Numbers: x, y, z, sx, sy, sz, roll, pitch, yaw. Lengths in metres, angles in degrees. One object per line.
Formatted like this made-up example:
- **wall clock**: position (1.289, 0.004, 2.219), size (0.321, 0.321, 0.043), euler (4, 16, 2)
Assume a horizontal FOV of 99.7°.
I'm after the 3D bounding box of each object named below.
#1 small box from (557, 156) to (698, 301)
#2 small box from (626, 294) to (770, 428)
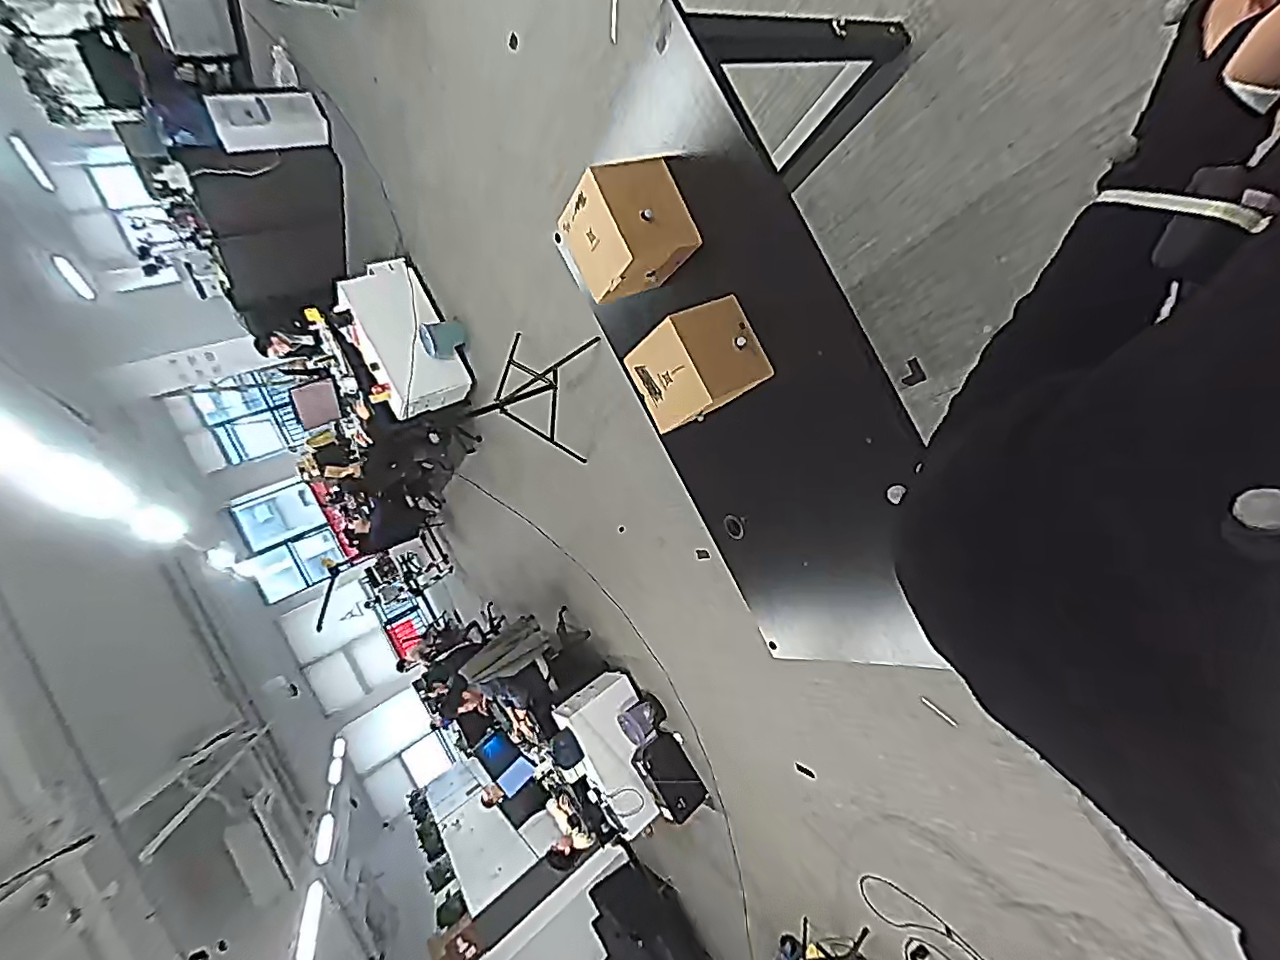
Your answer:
- **small box**: position (-0.022, -0.471, 1.014), size (0.168, 0.176, 0.179), euler (-22, 97, 60)
- **small box**: position (0.108, -0.222, 1.019), size (0.168, 0.176, 0.179), euler (62, 150, -1)
